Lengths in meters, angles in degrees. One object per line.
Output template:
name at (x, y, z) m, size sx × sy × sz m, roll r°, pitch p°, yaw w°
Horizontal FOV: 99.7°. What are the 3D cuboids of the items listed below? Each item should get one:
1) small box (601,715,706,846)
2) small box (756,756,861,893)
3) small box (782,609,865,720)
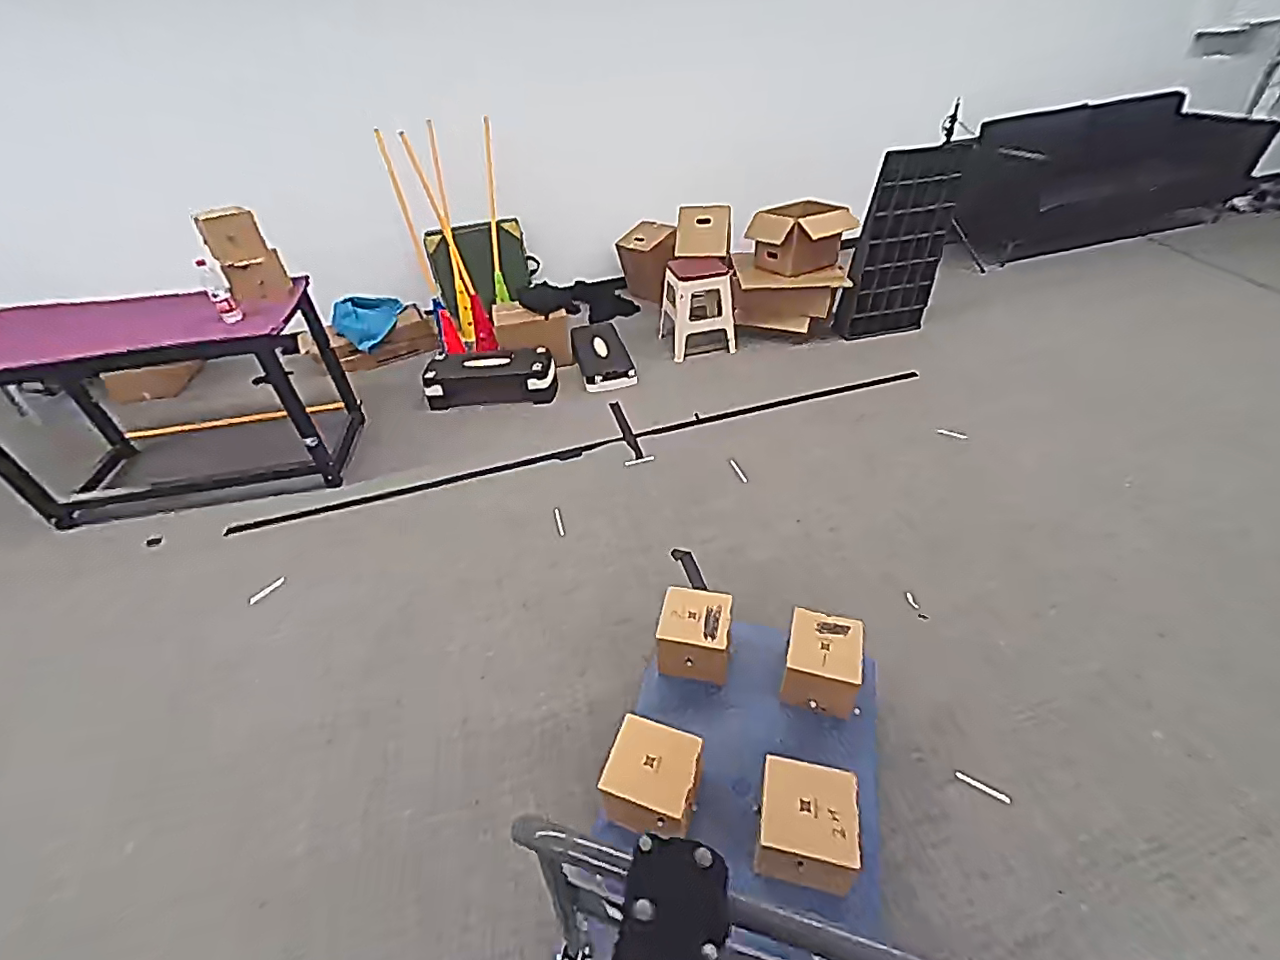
small box at (0.032, 0.639, 1.149) m, size 0.179 × 0.176 × 0.168 m, roll 12°, pitch 41°, yaw 16°
small box at (0.328, 0.683, 1.070) m, size 0.179 × 0.176 × 0.168 m, roll 7°, pitch 41°, yaw 13°
small box at (0.451, 0.455, 1.335) m, size 0.168 × 0.176 × 0.179 m, roll 10°, pitch 43°, yaw 16°
